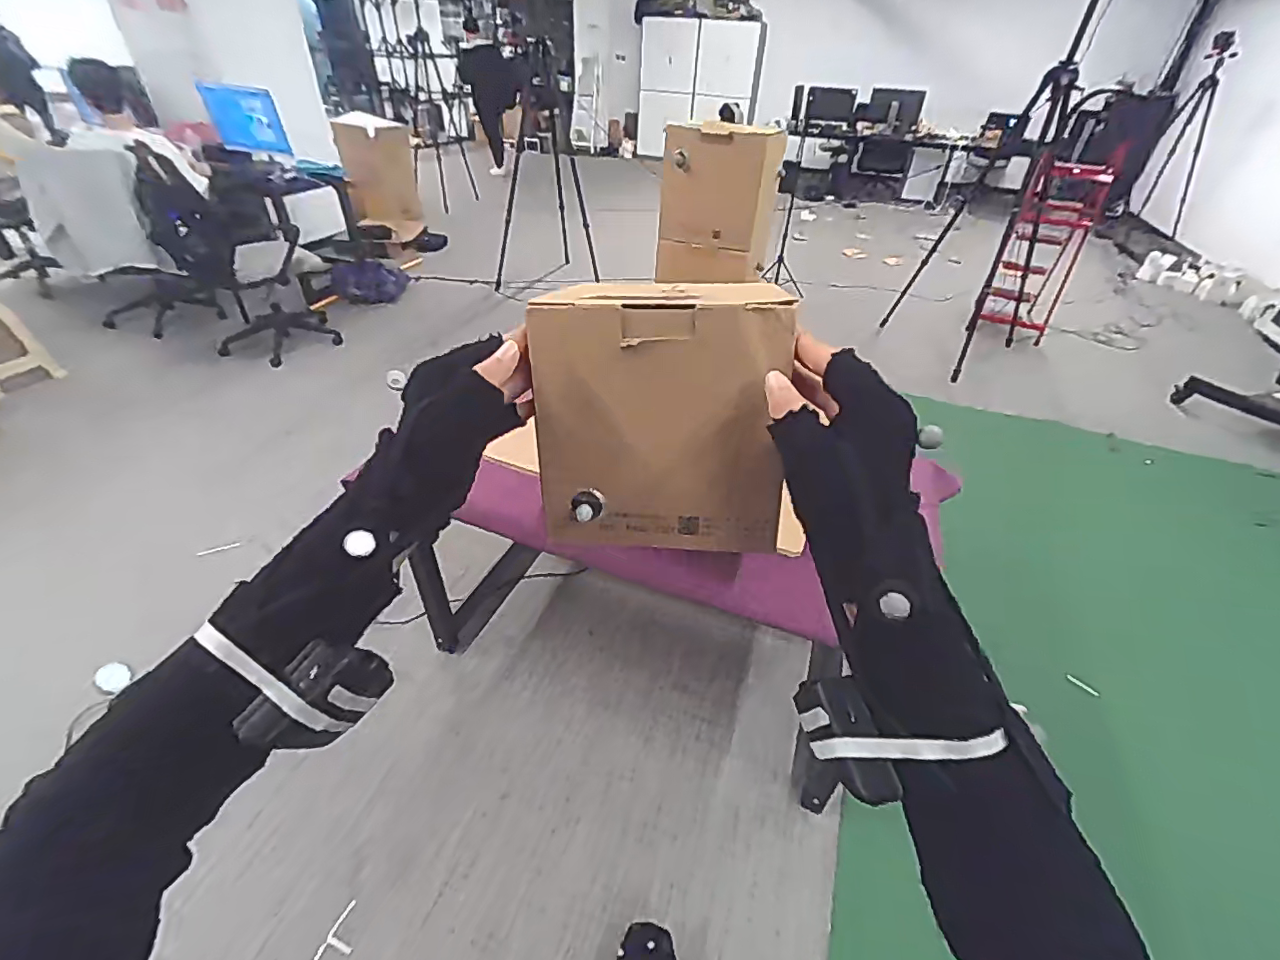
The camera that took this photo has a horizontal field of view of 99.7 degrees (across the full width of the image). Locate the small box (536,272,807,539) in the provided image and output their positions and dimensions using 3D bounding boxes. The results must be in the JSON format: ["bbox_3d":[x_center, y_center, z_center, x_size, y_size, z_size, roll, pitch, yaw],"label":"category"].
[{"bbox_3d":[0.026,-0.065,0.427,0.168,0.176,0.179,1,25,4],"label":"small box"}]

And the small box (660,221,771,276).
[{"bbox_3d":[0.136,-0.375,1.028,0.168,0.176,0.179,16,39,15],"label":"small box"}]
